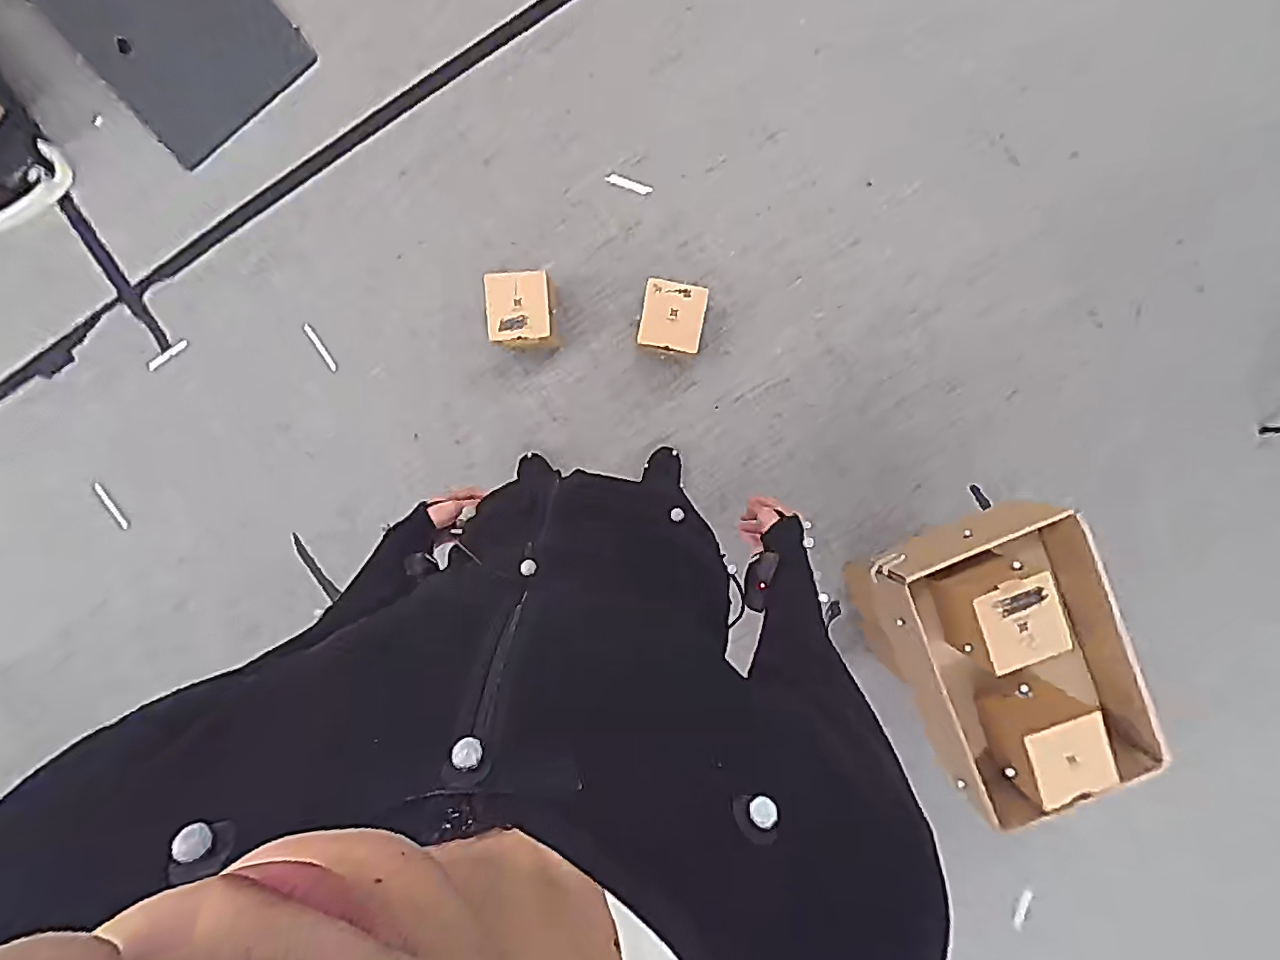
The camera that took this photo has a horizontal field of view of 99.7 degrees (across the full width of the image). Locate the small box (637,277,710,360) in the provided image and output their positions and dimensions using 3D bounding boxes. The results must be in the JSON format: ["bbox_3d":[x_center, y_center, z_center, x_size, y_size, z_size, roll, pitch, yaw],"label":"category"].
[{"bbox_3d":[0.088,-0.439,1.500,0.168,0.176,0.179,11,97,-2],"label":"small box"}]

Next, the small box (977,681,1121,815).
[{"bbox_3d":[0.880,0.574,1.178,0.168,0.176,0.179,-19,94,0],"label":"small box"}]

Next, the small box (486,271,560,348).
[{"bbox_3d":[-0.317,-0.463,1.494,0.168,0.176,0.179,-3,94,0],"label":"small box"}]
